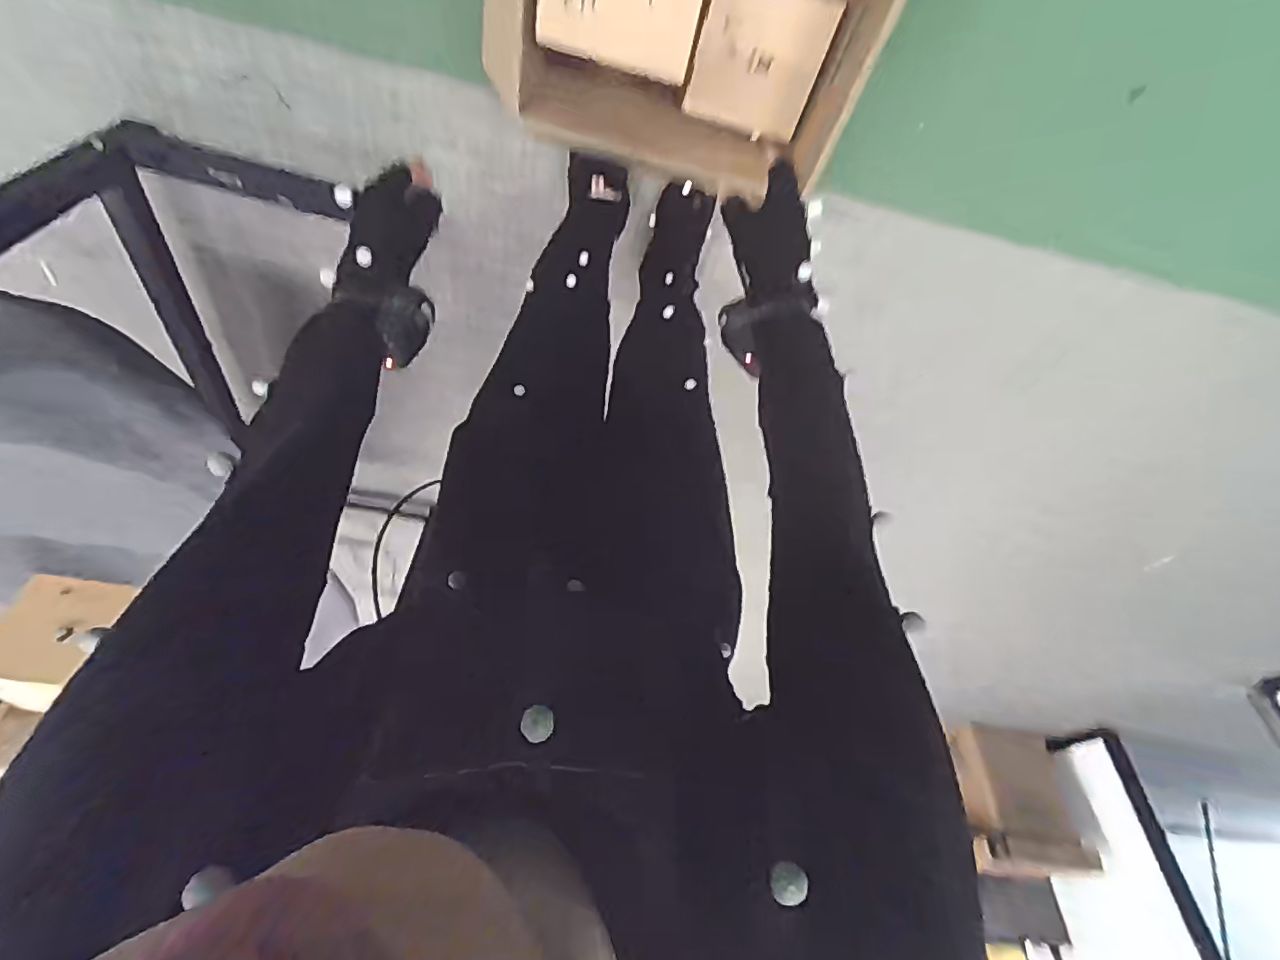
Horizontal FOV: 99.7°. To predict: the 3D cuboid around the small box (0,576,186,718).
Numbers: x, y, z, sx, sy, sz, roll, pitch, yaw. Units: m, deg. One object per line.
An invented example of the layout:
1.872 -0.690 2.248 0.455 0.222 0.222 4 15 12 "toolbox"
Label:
-0.910 0.275 0.888 0.168 0.176 0.179 9 141 -7 "small box"
